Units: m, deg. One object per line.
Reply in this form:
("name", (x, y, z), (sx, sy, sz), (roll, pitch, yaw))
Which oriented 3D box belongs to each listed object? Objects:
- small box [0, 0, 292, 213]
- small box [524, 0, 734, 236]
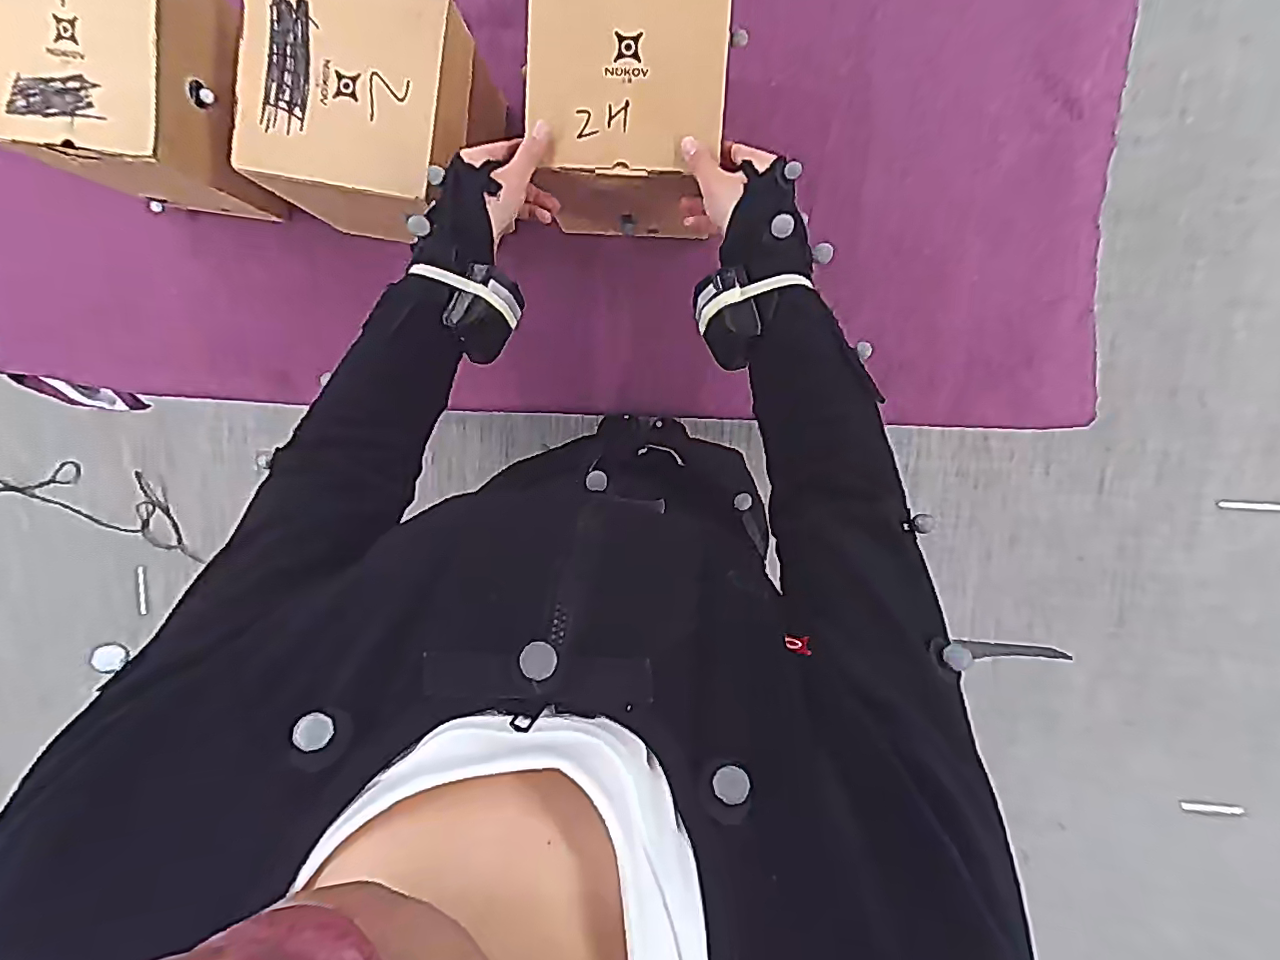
("small box", (-0.482, -0.390, 0.540), (0.168, 0.176, 0.179), (9, 98, 1))
("small box", (-0.006, -0.357, 0.519), (0.168, 0.176, 0.179), (4, 97, 3))
